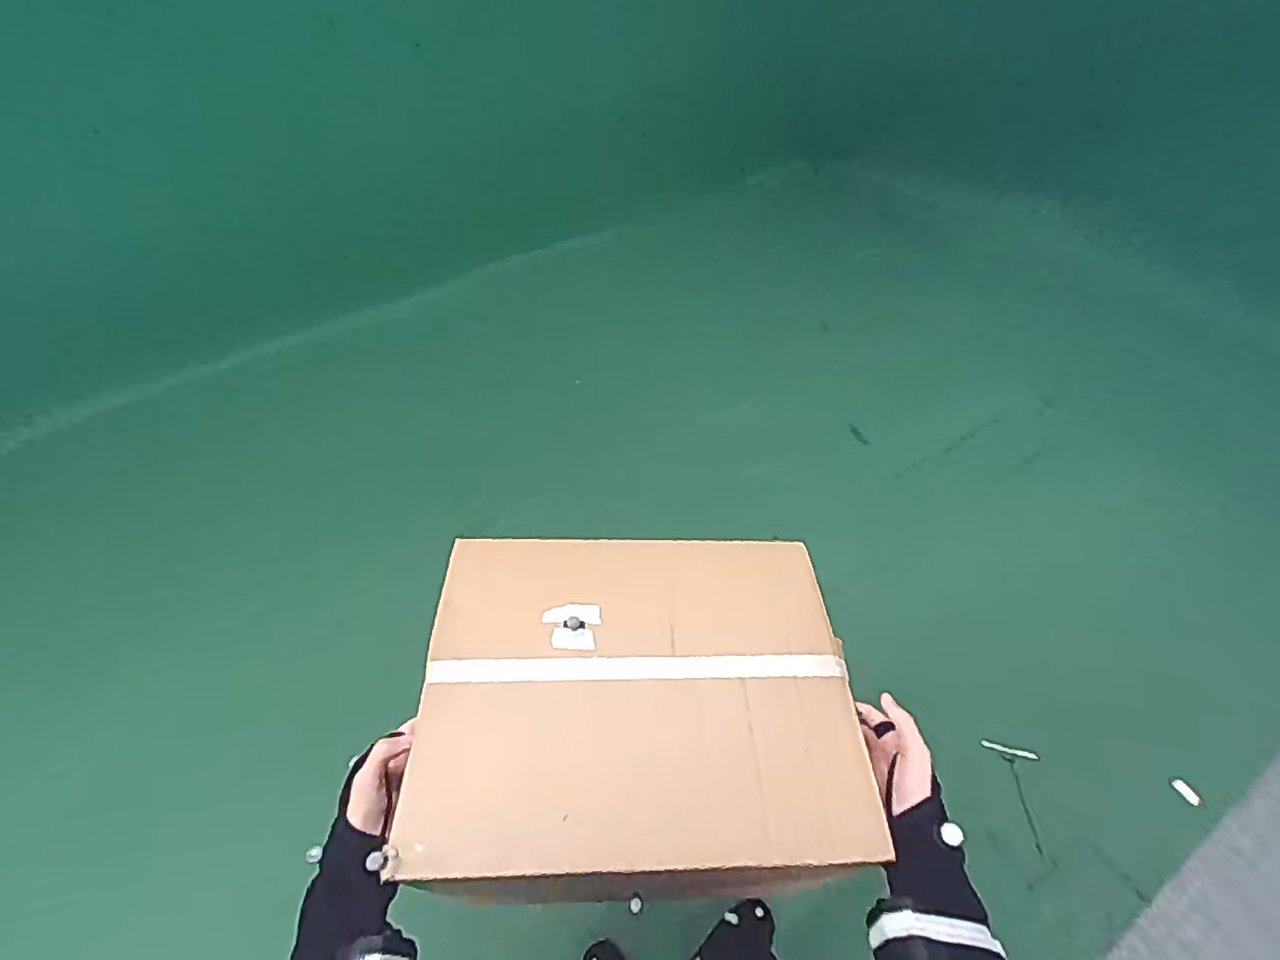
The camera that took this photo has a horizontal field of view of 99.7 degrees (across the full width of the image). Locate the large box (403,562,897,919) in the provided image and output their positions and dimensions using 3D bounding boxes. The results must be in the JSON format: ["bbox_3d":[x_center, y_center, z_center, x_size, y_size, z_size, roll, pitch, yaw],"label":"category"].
[{"bbox_3d":[0.005,0.310,0.637,0.408,0.320,0.320,1,47,-2],"label":"large box"}]
